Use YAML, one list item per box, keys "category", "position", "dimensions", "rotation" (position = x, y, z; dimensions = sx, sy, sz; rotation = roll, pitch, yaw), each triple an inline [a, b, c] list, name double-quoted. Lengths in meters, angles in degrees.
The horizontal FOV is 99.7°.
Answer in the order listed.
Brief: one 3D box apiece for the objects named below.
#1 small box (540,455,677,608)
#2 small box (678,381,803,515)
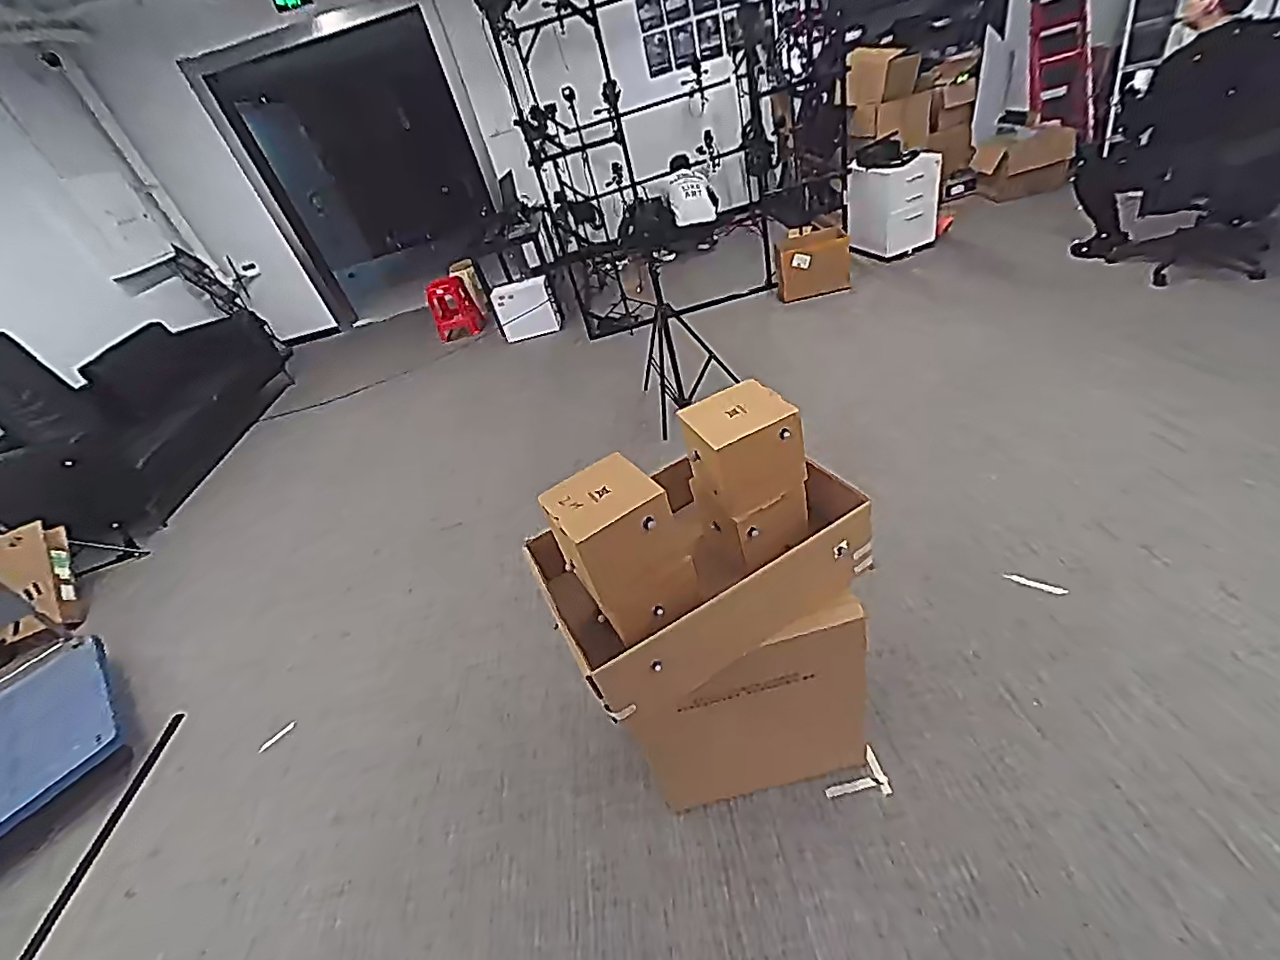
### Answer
- category: "small box"
  position: [-0.049, 0.090, 0.968]
  dimensions: [0.179, 0.176, 0.168]
  rotation: [-31, 39, -17]
- category: "small box"
  position: [0.199, -0.061, 1.058]
  dimensions: [0.179, 0.176, 0.168]
  rotation: [-26, 38, -9]
